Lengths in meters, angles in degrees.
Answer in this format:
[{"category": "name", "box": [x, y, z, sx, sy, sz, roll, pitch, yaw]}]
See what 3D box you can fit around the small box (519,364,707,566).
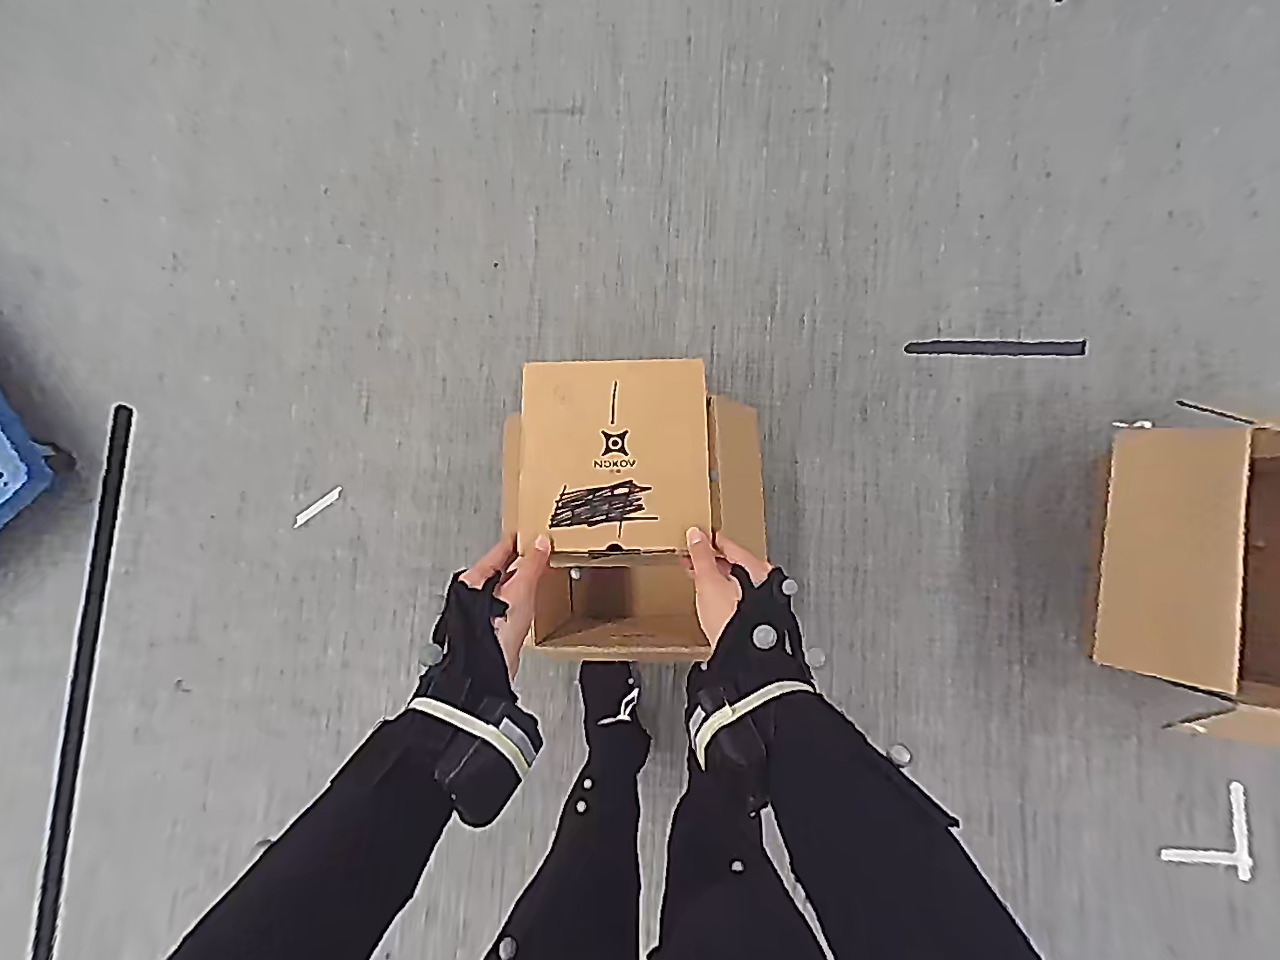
[{"category": "small box", "box": [-0.021, -0.003, 0.556, 0.168, 0.176, 0.179, -1, 76, 1]}]
